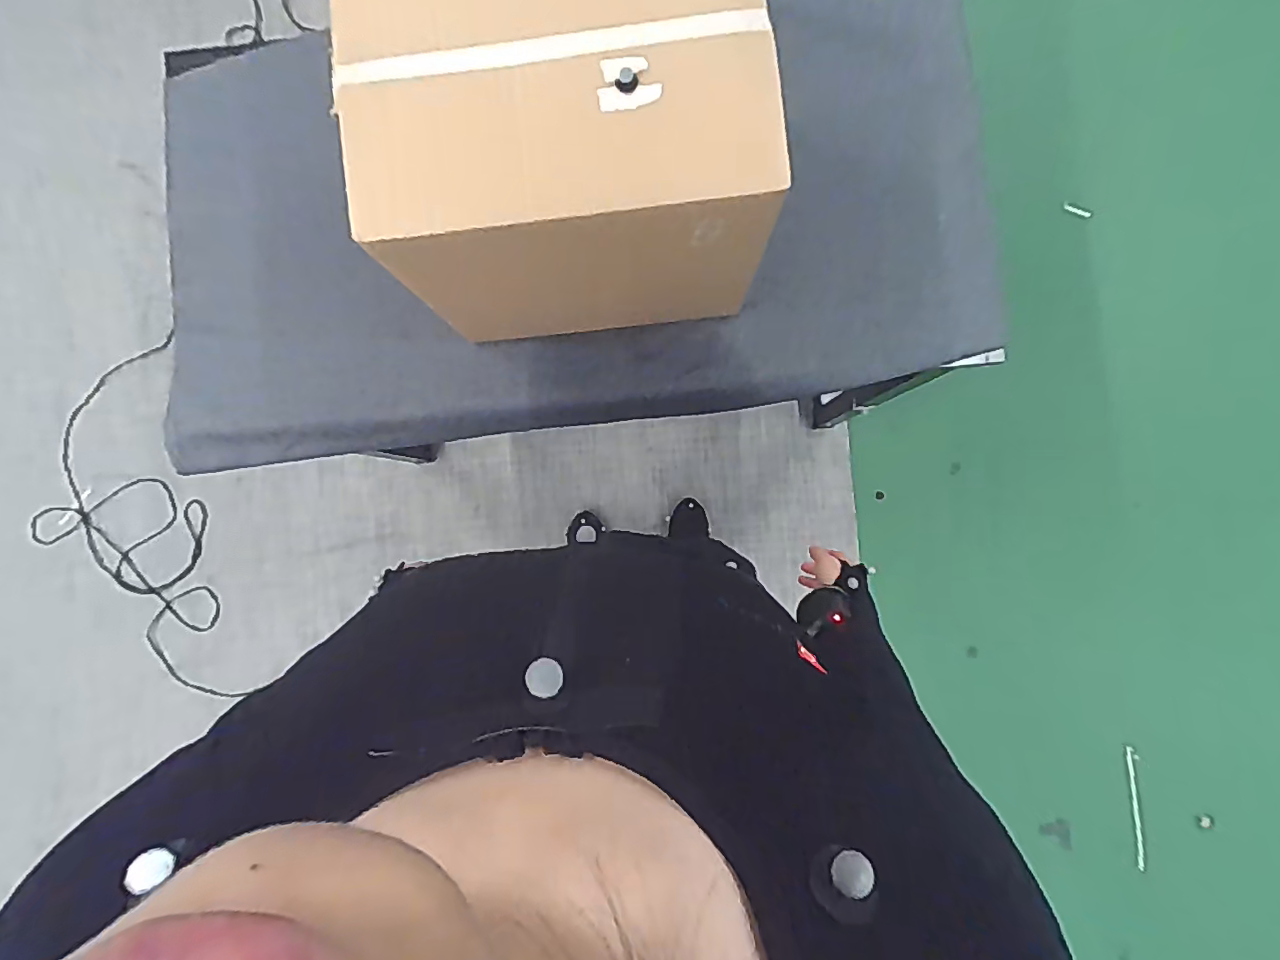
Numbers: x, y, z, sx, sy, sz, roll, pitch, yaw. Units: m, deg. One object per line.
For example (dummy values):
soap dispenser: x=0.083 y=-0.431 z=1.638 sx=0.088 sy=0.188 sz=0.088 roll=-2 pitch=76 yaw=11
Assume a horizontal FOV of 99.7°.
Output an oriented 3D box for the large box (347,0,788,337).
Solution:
large box: x=-0.074 y=-0.393 z=0.660 sx=0.408 sy=0.320 sz=0.320 roll=-7 pitch=88 yaw=1
